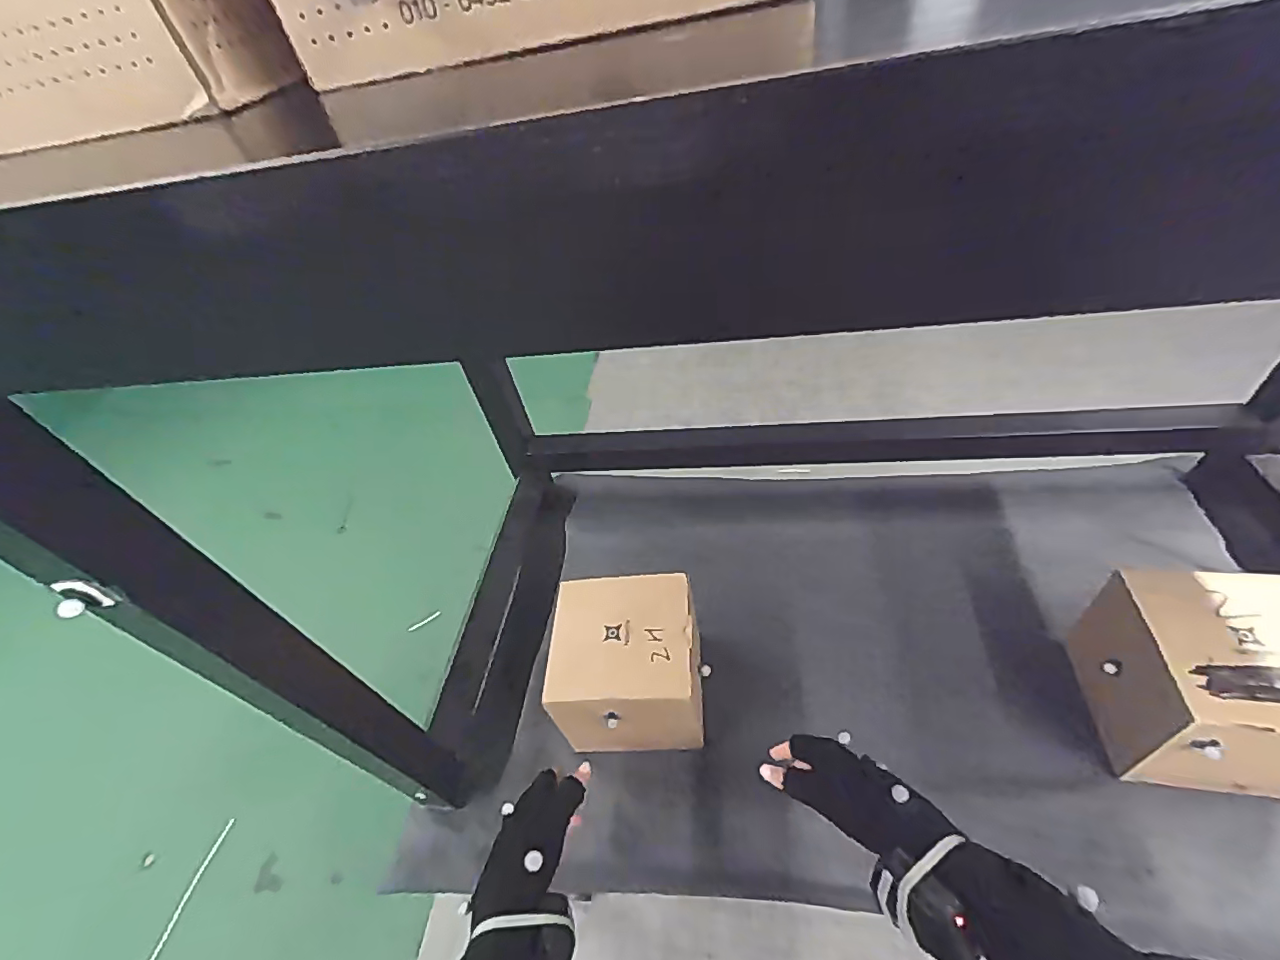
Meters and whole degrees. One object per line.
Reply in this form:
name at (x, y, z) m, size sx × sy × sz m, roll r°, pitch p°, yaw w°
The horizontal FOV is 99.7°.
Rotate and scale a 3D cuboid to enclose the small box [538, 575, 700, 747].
small box at (-0.016, 0.245, 0.722) m, size 0.179 × 0.176 × 0.168 m, roll -4°, pitch 47°, yaw 8°
